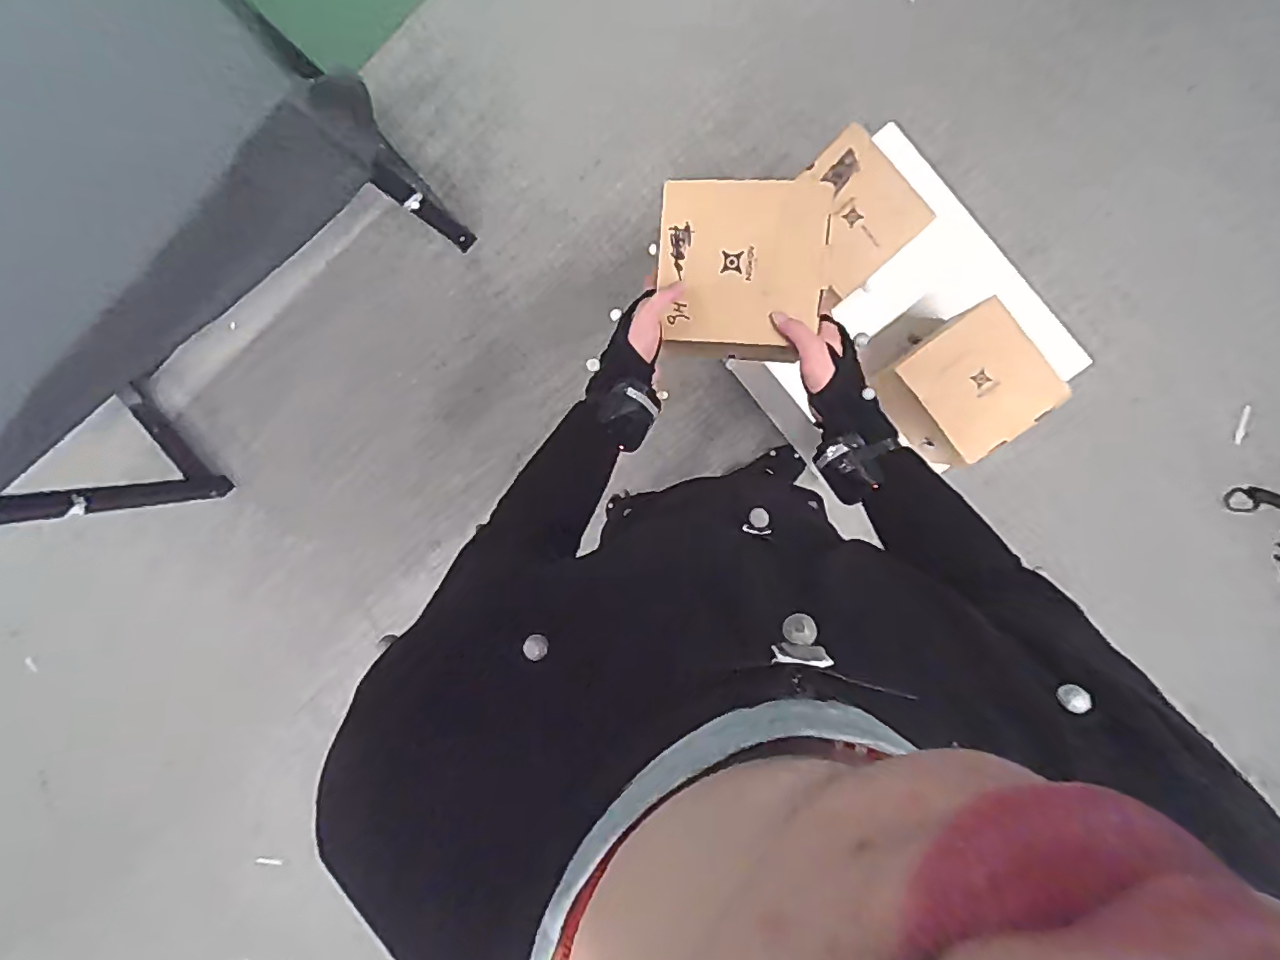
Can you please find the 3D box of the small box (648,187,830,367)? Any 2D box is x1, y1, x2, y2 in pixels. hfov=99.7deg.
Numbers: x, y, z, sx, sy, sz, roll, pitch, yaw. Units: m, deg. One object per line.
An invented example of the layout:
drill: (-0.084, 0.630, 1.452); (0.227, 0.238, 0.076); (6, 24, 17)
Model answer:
small box: (0.111, -0.226, 0.642); (0.179, 0.176, 0.168); (5, 97, 8)

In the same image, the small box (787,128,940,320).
small box: (0.300, -0.370, 0.821); (0.168, 0.176, 0.179); (-40, 90, 9)

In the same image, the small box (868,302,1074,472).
small box: (0.481, -0.132, 0.818); (0.168, 0.176, 0.179); (-38, 87, 8)
